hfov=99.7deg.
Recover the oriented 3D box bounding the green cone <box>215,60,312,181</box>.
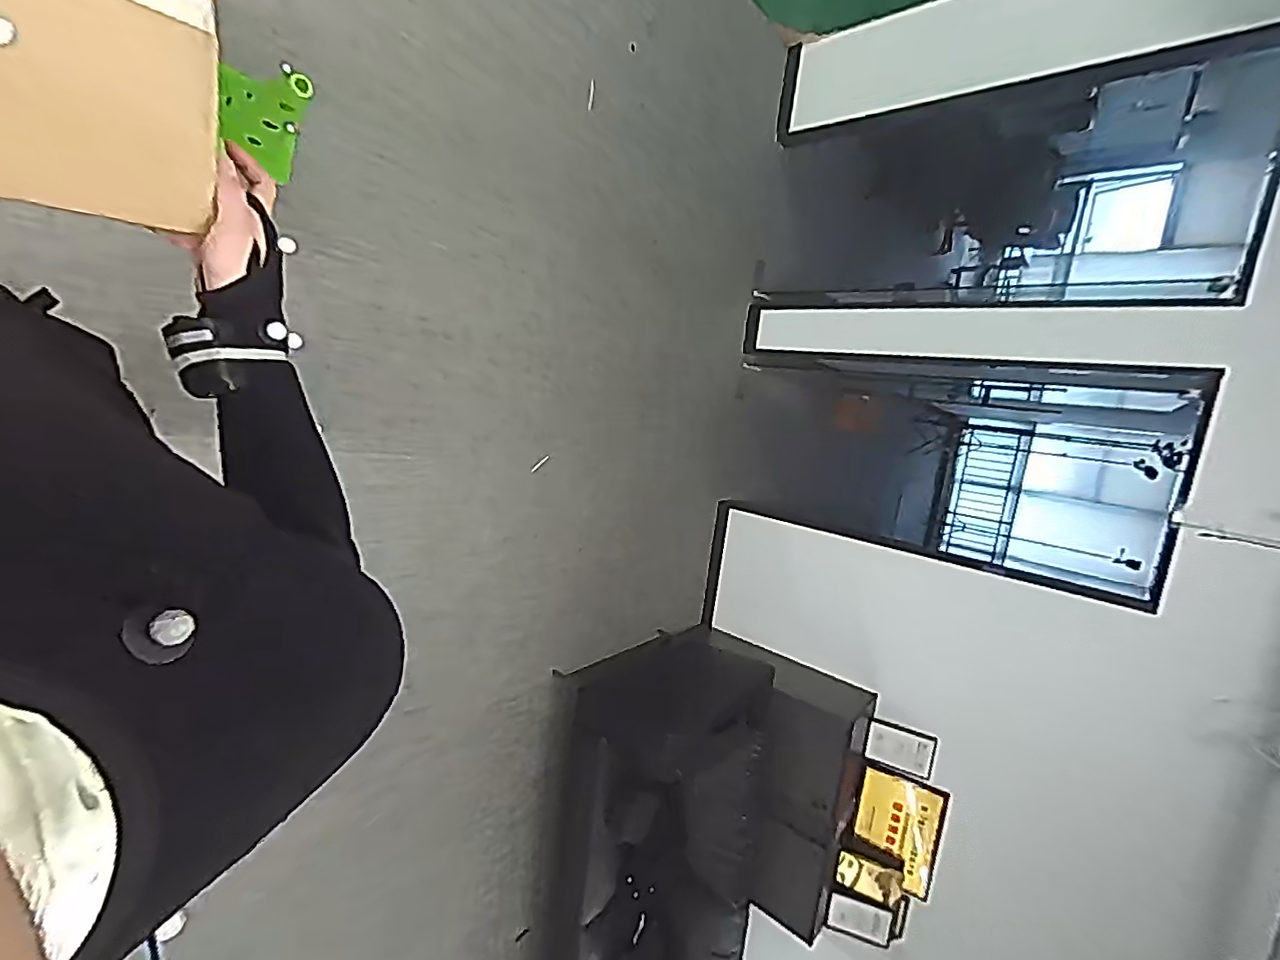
[{"bbox_3d":[-0.806,-0.821,1.179,0.200,0.368,0.202,7,94,-52],"label":"green cone"}]
